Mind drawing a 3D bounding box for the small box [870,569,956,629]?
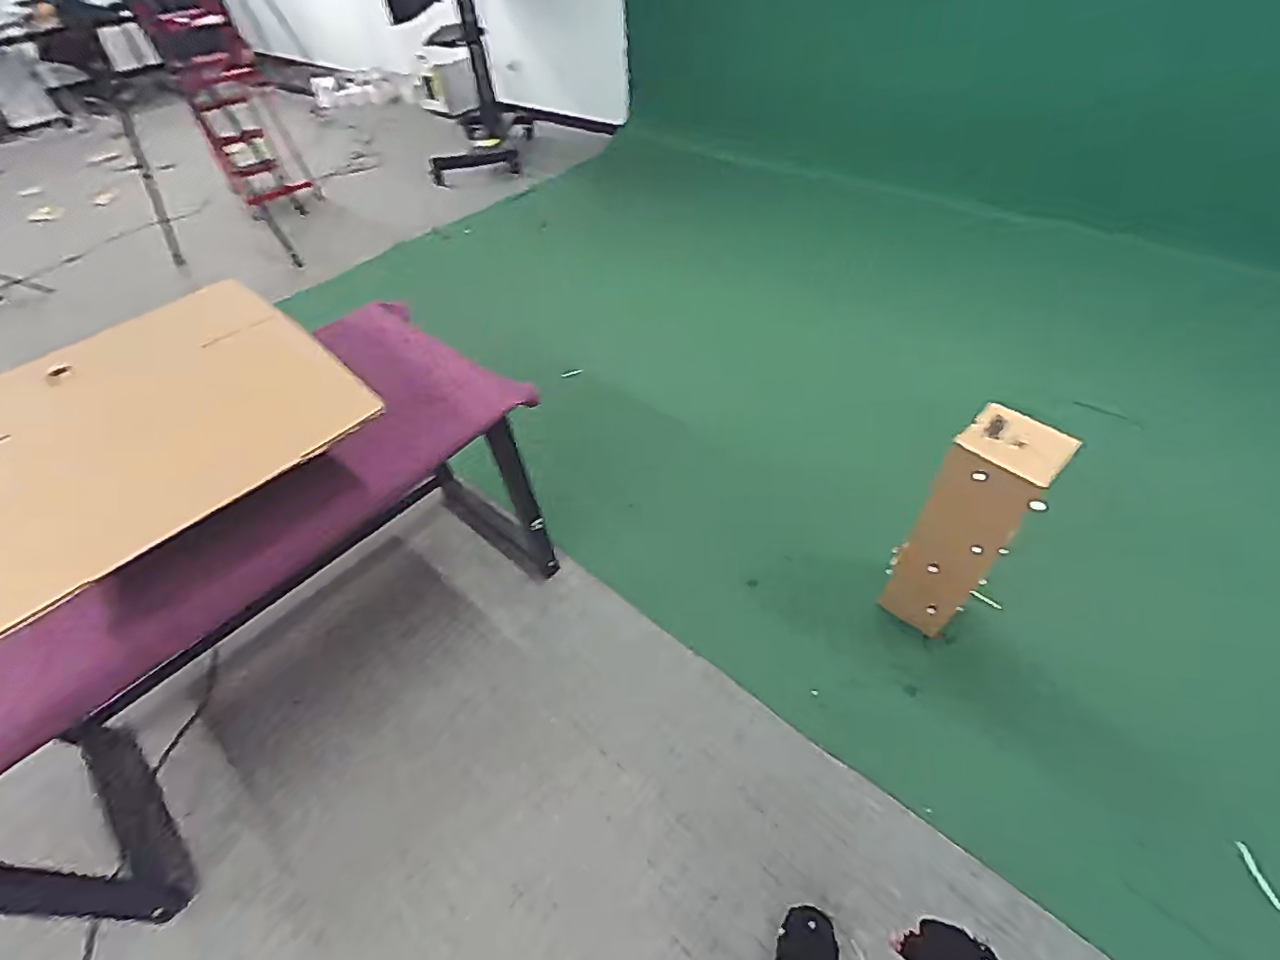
[{"bbox_3d":[0.782,0.293,1.517,0.179,0.176,0.168,33,59,28],"label":"small box"}]

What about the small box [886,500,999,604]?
[{"bbox_3d":[0.769,0.192,1.390,0.179,0.176,0.168,34,60,29],"label":"small box"}]

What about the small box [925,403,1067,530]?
[{"bbox_3d":[0.742,-0.026,1.146,0.179,0.176,0.168,35,60,30],"label":"small box"}]
